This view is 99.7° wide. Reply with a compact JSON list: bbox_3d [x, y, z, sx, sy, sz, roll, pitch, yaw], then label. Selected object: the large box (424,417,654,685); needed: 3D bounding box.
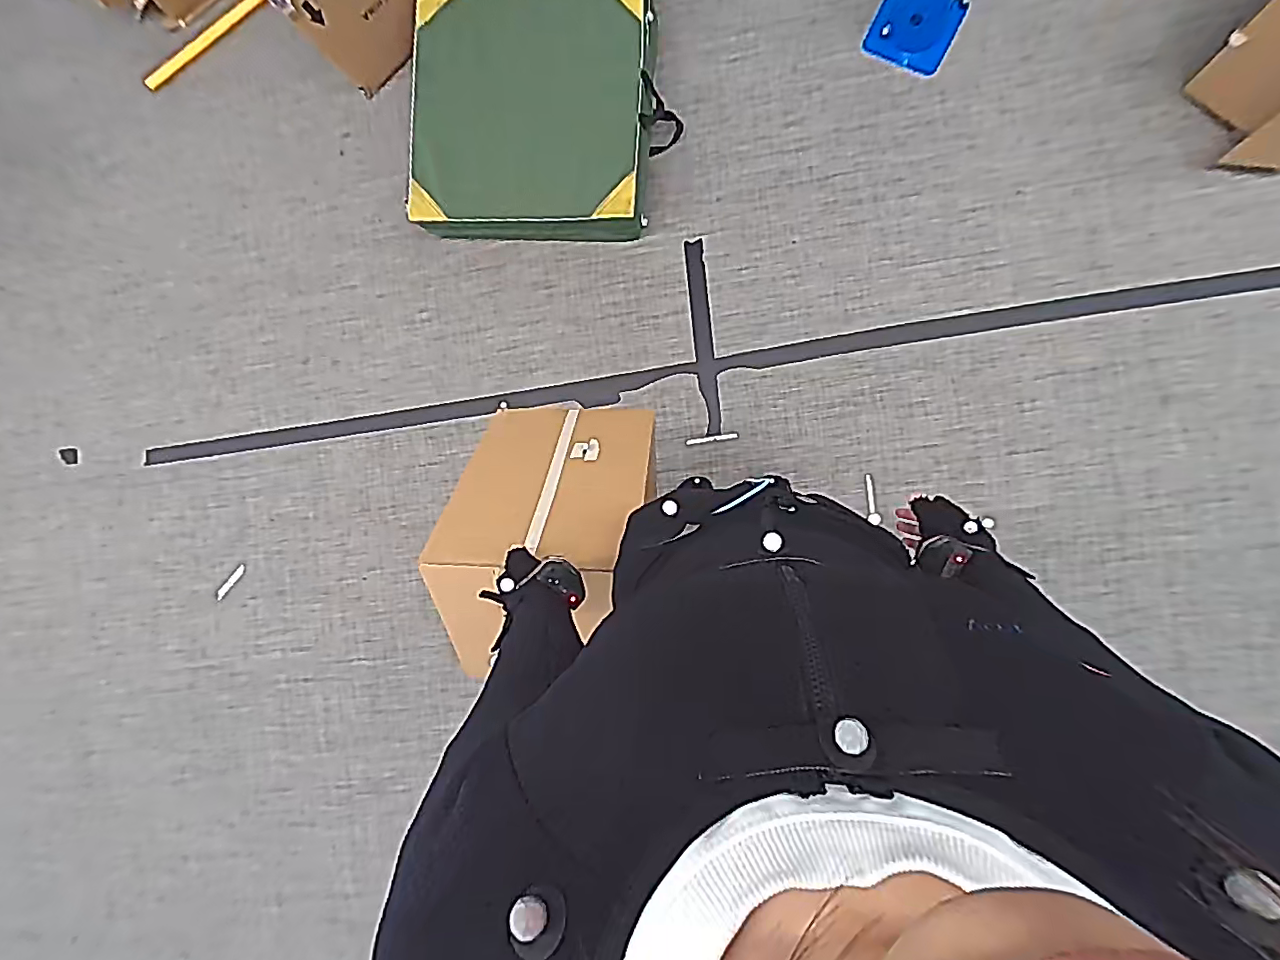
[{"bbox_3d":[-0.142,0.121,1.014,0.320,0.408,0.320,2,129,6],"label":"large box"}]
